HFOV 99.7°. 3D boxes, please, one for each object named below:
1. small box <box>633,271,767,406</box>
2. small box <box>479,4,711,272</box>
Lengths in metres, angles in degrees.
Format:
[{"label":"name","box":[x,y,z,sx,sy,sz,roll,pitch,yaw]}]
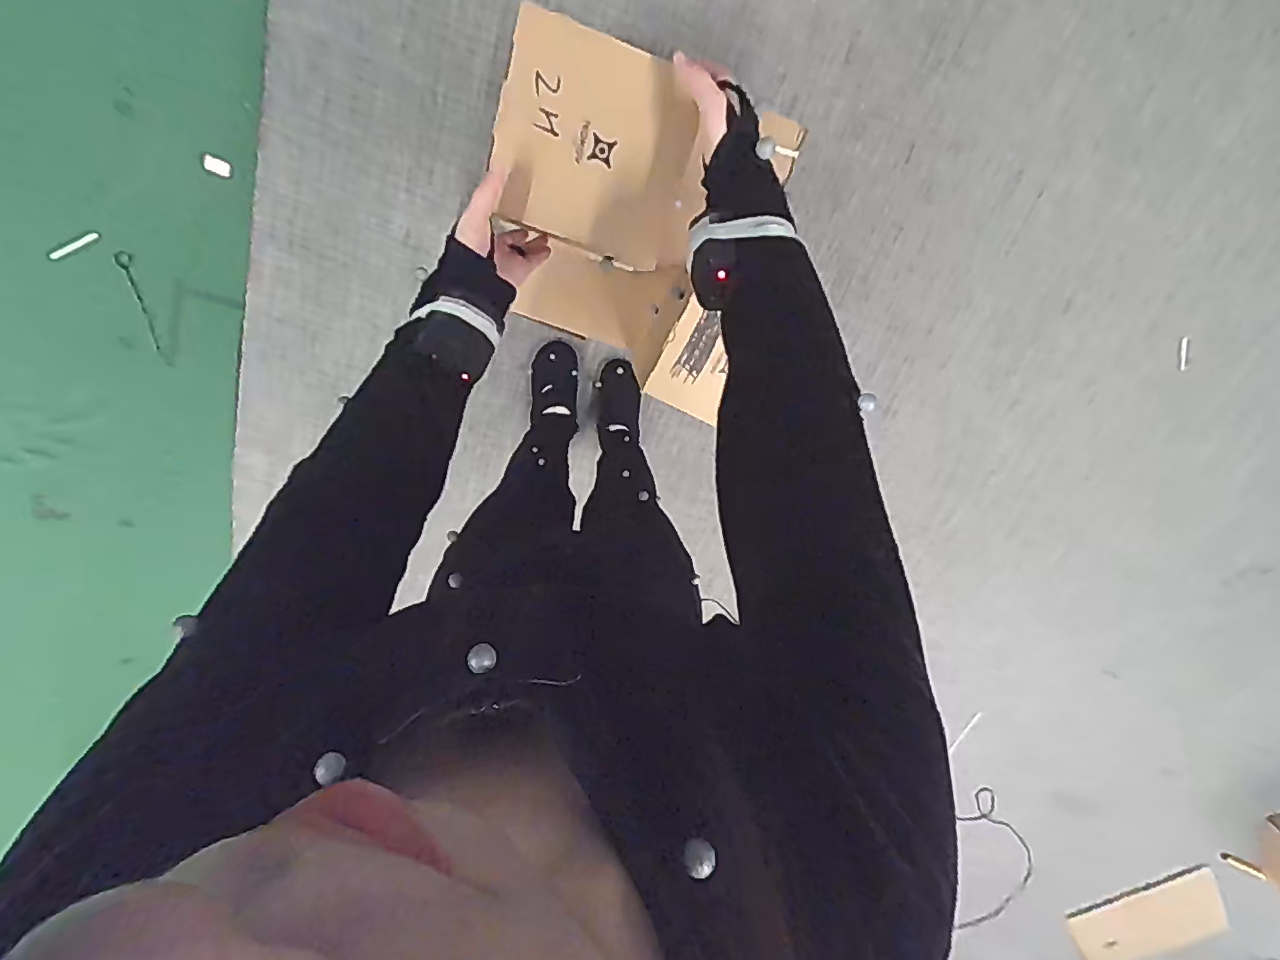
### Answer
[{"label":"small box","box":[0.093,-0.258,0.962,0.168,0.176,0.179,20,110,-13]},{"label":"small box","box":[-0.050,-0.332,0.565,0.179,0.176,0.168,16,109,-11]}]
